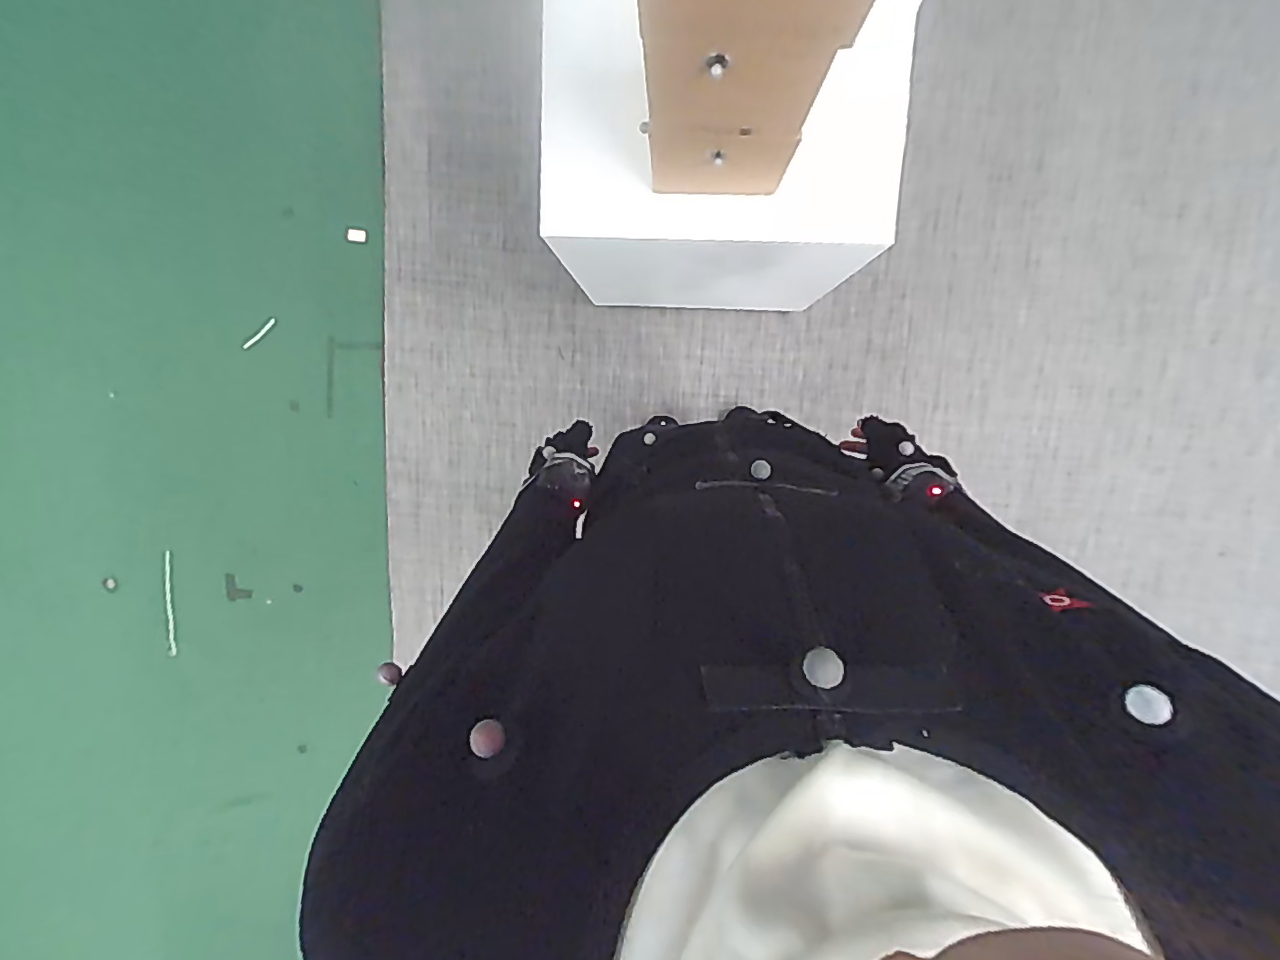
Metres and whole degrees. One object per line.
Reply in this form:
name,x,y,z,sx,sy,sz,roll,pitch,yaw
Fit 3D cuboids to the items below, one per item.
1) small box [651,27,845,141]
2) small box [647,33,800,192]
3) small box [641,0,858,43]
small box,0.095,-0.463,0.524,0.168,0.176,0.179,1,99,3
small box,0.103,-0.482,0.684,0.179,0.176,0.168,3,99,2
small box,0.087,-0.434,0.359,0.179,0.176,0.168,5,99,3
